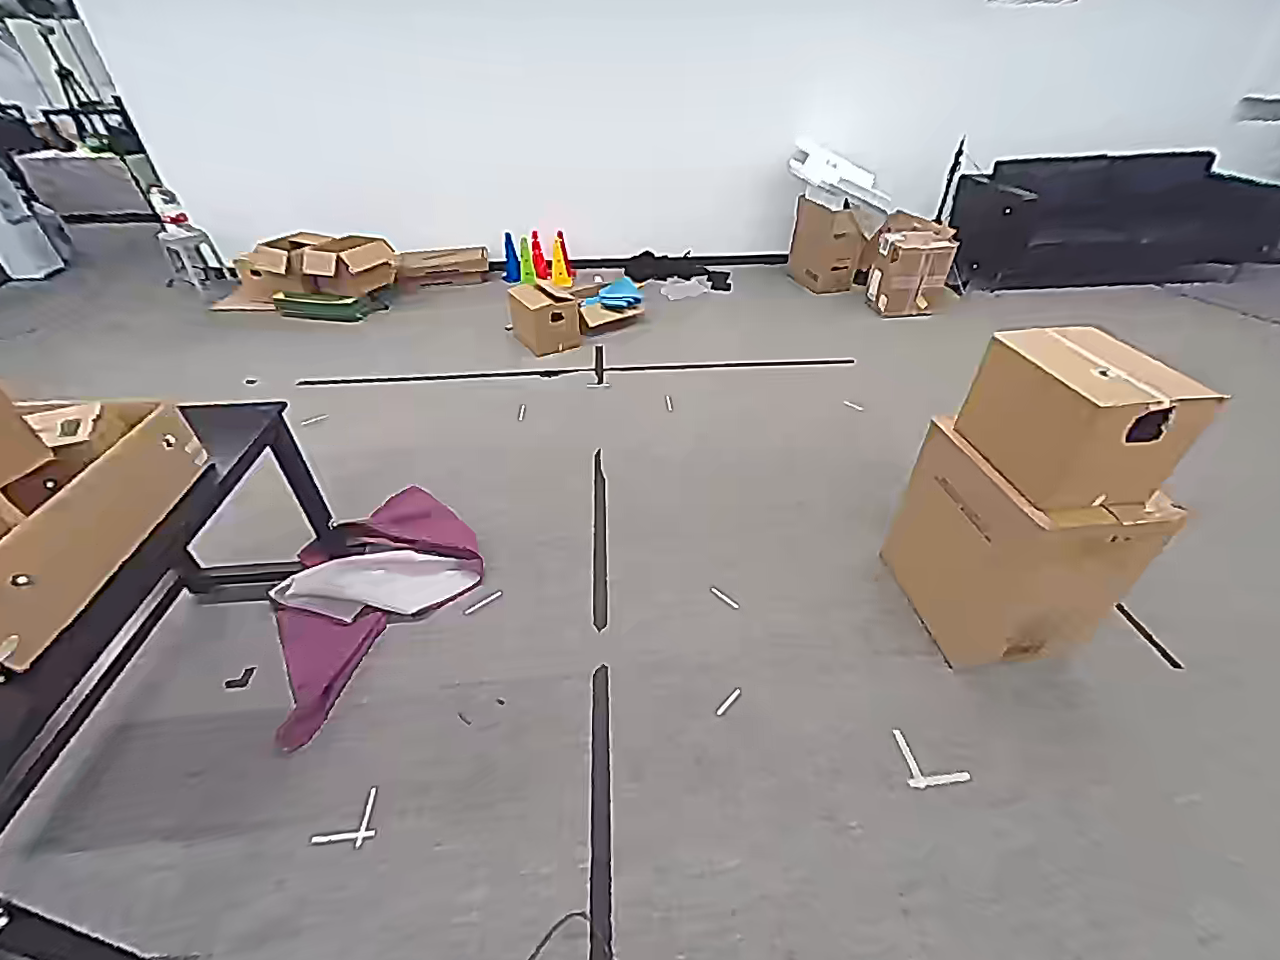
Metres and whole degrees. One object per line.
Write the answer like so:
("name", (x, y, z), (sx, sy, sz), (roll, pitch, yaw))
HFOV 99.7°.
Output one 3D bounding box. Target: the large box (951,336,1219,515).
("large box", (1.141, -0.159, 1.456), (0.320, 0.320, 0.408), (-5, 39, -5))
